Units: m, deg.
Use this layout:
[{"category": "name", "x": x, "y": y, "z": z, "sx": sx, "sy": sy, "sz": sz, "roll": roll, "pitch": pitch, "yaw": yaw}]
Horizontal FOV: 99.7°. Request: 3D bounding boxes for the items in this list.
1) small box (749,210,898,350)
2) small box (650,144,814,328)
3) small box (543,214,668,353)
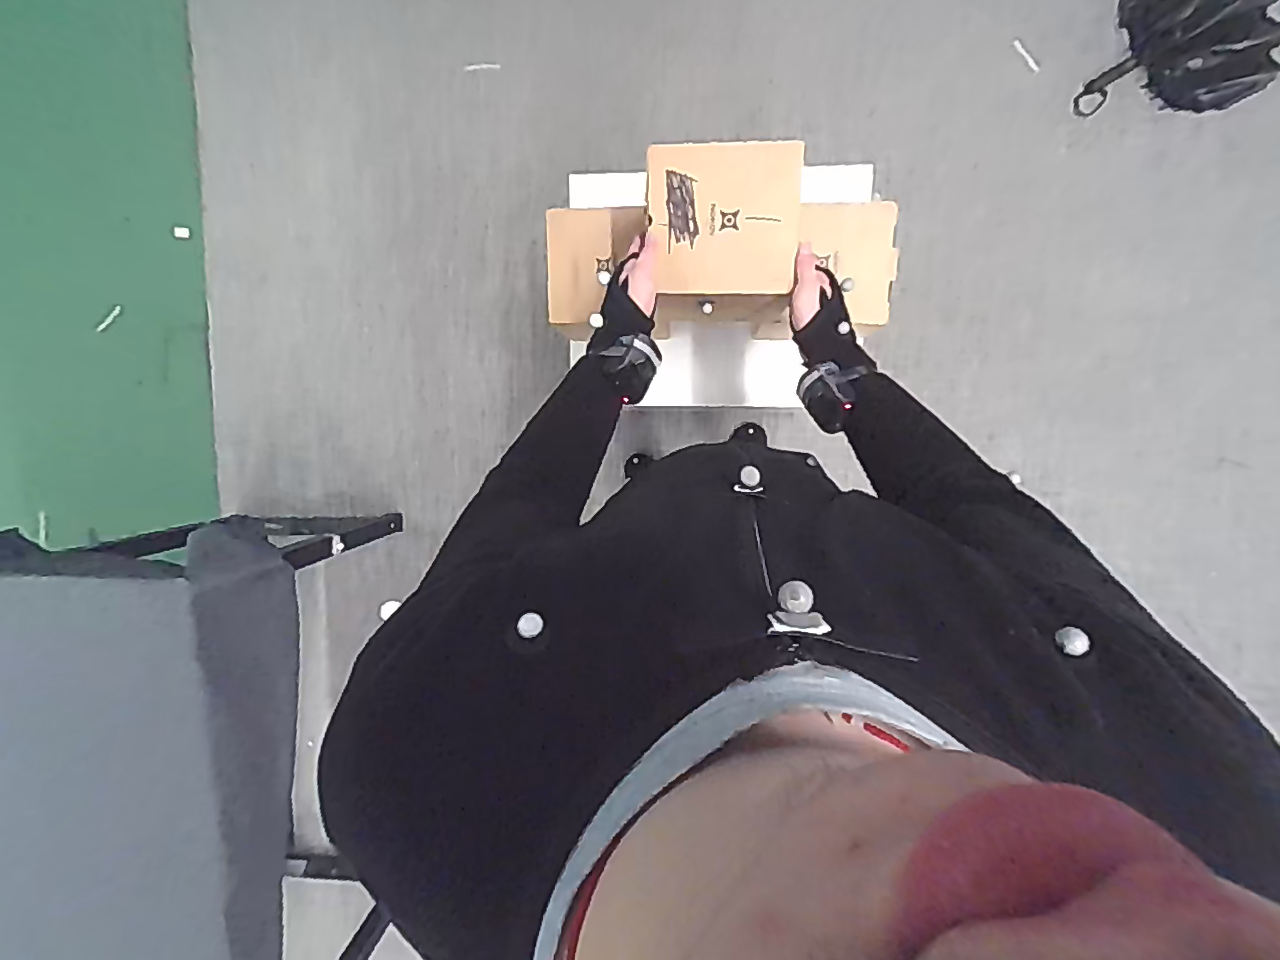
[{"category": "small box", "x": 0.269, "y": -0.295, "z": 0.826, "sx": 0.179, "sy": 0.176, "sz": 0.168, "roll": 1, "pitch": 95, "yaw": 5}, {"category": "small box", "x": 0.105, "y": -0.287, "z": 0.672, "sx": 0.179, "sy": 0.176, "sz": 0.168, "roll": 1, "pitch": 95, "yaw": 4}, {"category": "small box", "x": -0.045, "y": -0.297, "z": 0.845, "sx": 0.179, "sy": 0.176, "sz": 0.168, "roll": -2, "pitch": 94, "yaw": 4}]
